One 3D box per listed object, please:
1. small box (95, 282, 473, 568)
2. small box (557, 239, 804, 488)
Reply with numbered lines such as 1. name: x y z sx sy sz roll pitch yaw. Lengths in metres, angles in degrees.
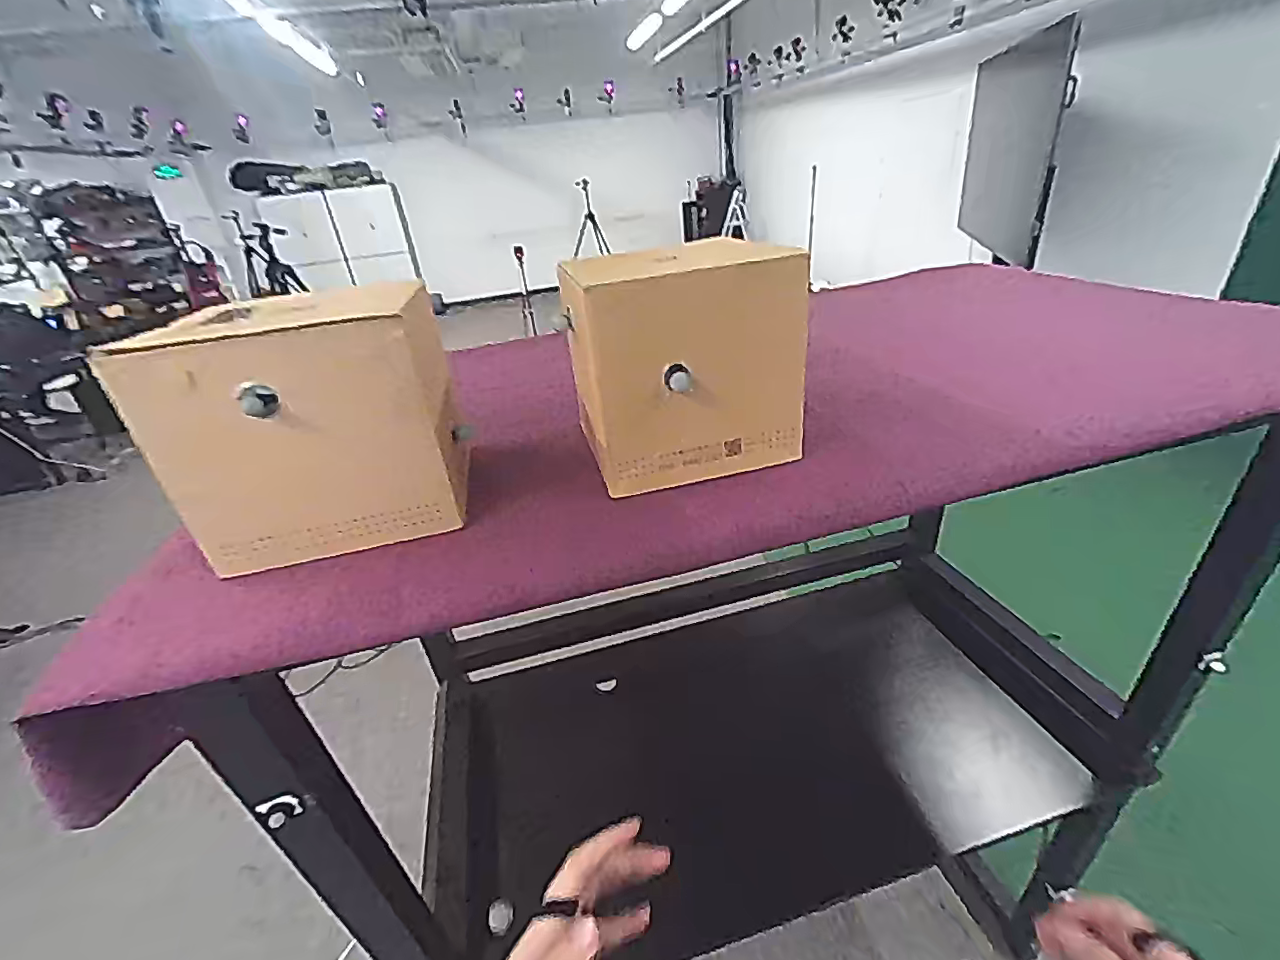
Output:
1. small box: -0.245 -0.051 0.433 0.179 0.176 0.168 -11 29 -10
2. small box: 0.029 -0.104 0.475 0.168 0.176 0.179 -12 28 -9
